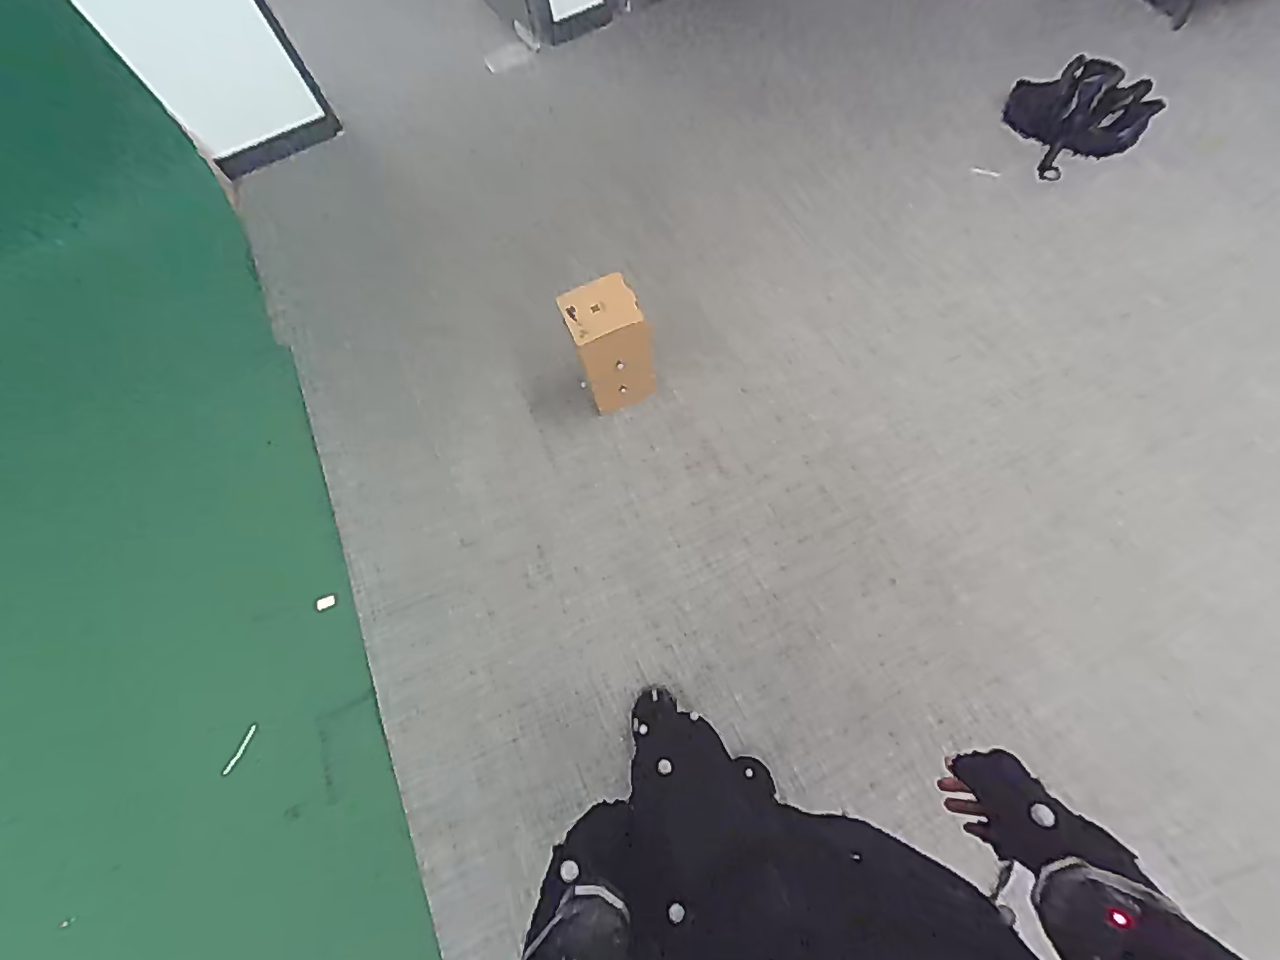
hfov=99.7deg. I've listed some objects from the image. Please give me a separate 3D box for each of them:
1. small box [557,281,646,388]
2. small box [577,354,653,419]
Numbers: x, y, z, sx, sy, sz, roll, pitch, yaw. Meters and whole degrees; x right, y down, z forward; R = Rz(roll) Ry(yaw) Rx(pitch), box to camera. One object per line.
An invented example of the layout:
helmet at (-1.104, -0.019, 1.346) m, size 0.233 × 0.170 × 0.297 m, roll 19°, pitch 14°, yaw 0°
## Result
small box at (-0.092, -0.367, 1.387) m, size 0.179 × 0.176 × 0.168 m, roll -23°, pitch 67°, yaw -4°
small box at (-0.073, -0.305, 1.536) m, size 0.179 × 0.176 × 0.168 m, roll -27°, pitch 68°, yaw -6°
